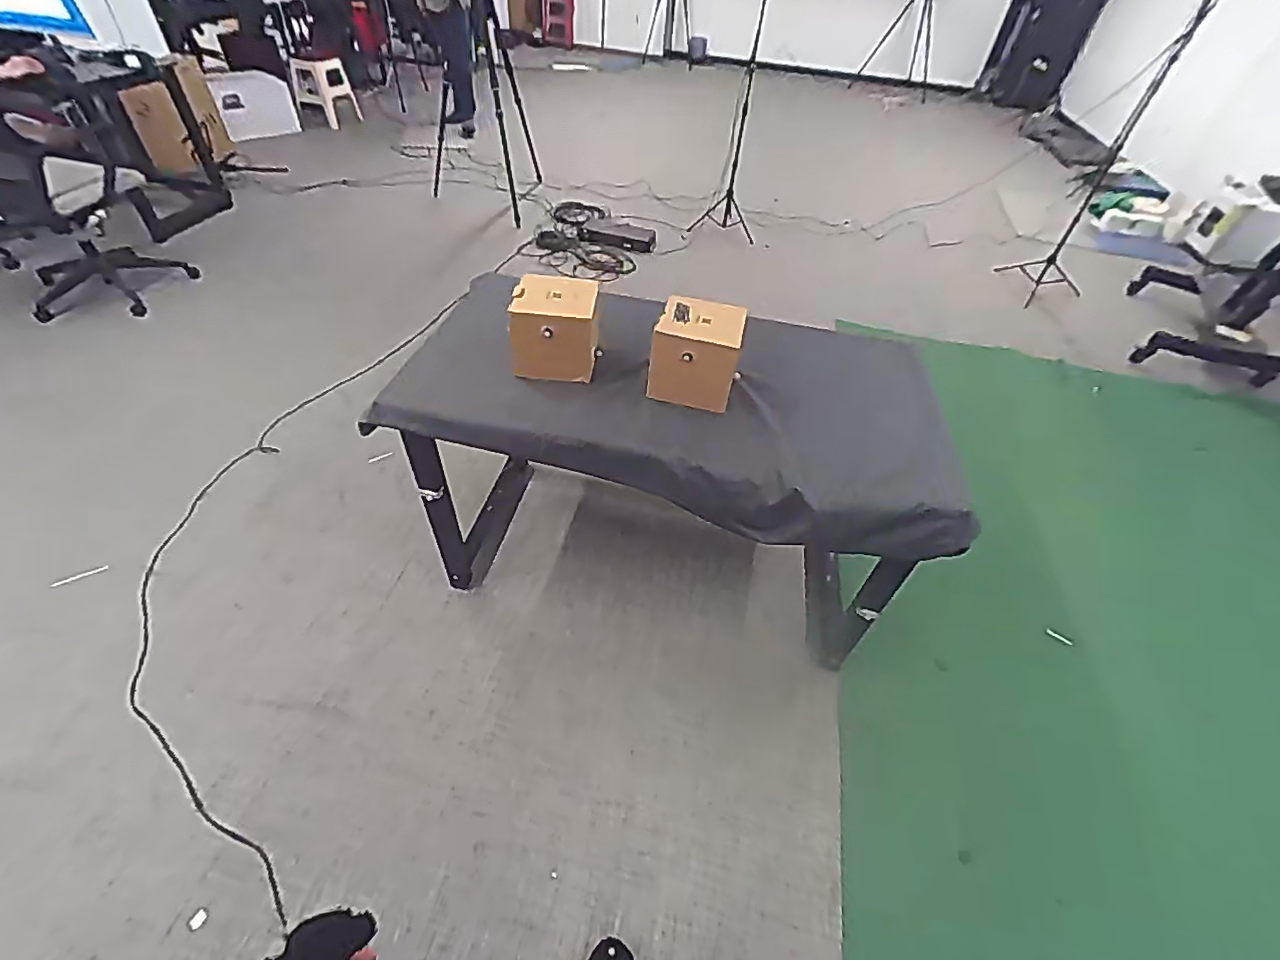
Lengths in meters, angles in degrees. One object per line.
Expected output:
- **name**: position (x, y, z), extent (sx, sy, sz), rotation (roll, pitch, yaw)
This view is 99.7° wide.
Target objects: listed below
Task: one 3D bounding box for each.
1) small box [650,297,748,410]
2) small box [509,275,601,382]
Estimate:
- **small box**: position (0.125, -0.274, 1.183), extent (0.179, 0.176, 0.168), rotation (13, 47, 6)
- **small box**: position (-0.183, -0.338, 1.214), extent (0.179, 0.176, 0.168), rotation (6, 48, -2)
